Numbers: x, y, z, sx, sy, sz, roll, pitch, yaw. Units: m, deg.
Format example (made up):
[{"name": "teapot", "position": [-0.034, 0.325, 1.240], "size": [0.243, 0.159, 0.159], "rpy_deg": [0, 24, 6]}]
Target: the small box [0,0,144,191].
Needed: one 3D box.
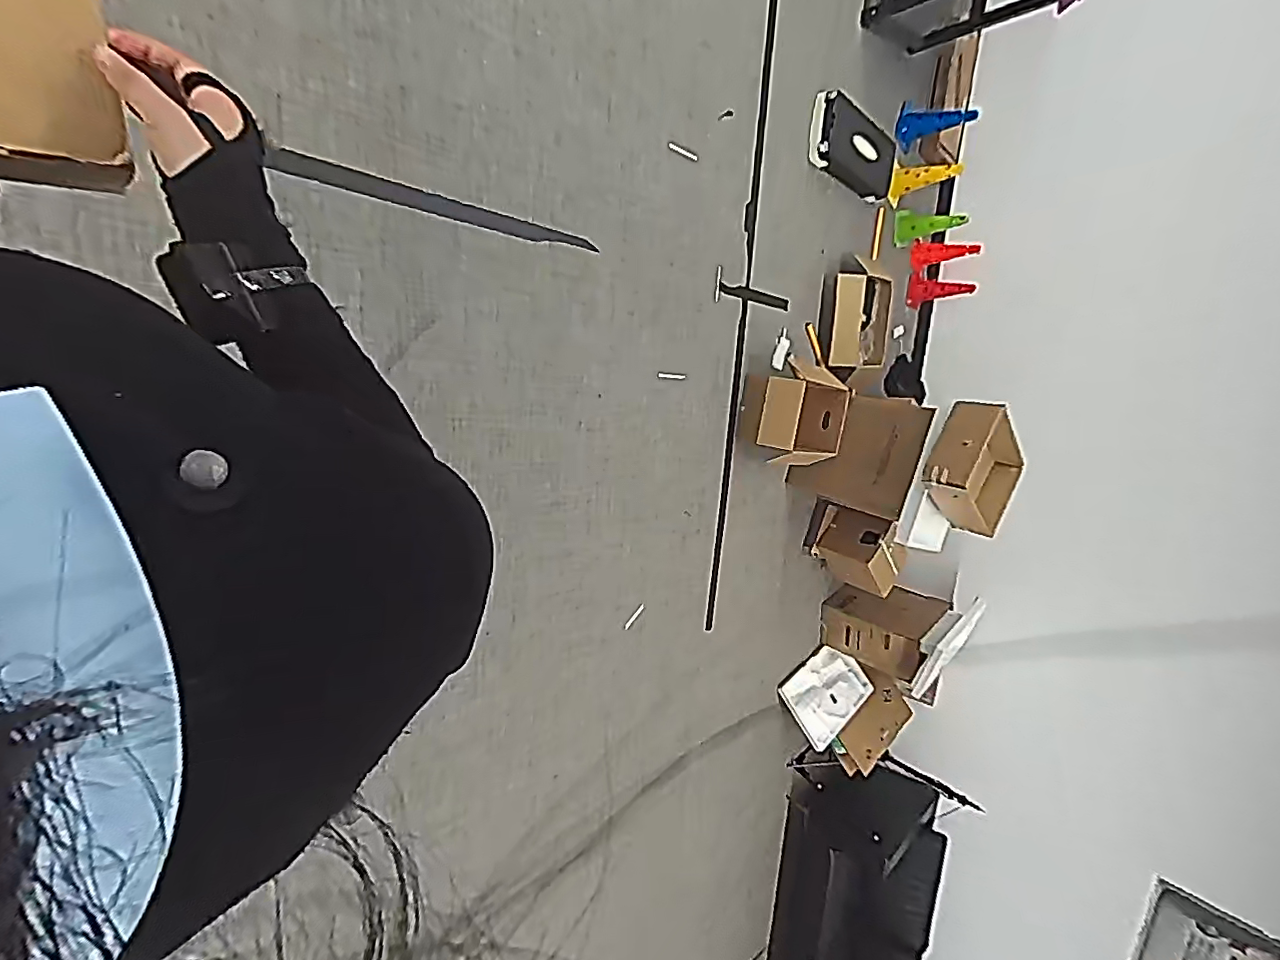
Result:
[{"name": "small box", "position": [-0.457, -0.306, 0.353], "size": [0.168, 0.176, 0.179], "rpy_deg": [-13, 115, -42]}]
